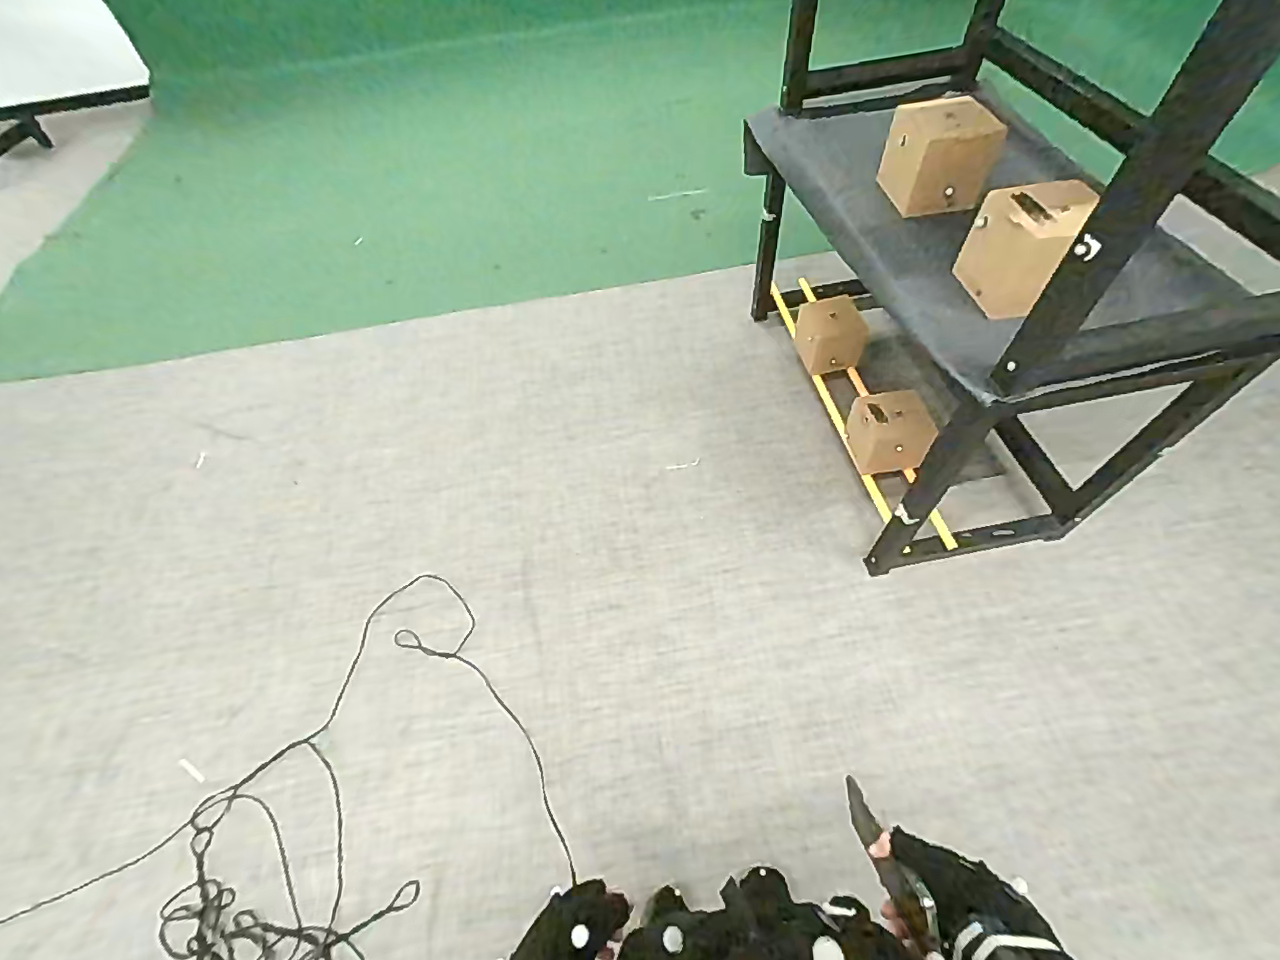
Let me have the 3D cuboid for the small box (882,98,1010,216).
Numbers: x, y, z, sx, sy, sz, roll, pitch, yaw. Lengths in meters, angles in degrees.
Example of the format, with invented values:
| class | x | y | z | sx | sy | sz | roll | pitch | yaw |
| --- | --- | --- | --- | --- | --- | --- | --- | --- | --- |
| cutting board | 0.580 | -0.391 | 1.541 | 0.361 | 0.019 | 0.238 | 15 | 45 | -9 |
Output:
| class | x | y | z | sx | sy | sz | roll | pitch | yaw |
| --- | --- | --- | --- | --- | --- | --- | --- | --- | --- |
| small box | 0.673 | -0.725 | 1.218 | 0.168 | 0.176 | 0.179 | -8 | 55 | 0 |

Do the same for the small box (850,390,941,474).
| class | x | y | z | sx | sy | sz | roll | pitch | yaw |
| --- | --- | --- | --- | --- | --- | --- | --- | --- | --- |
| small box | 0.724 | -0.133 | 1.563 | 0.179 | 0.176 | 0.168 | -8 | 55 | 0 |
